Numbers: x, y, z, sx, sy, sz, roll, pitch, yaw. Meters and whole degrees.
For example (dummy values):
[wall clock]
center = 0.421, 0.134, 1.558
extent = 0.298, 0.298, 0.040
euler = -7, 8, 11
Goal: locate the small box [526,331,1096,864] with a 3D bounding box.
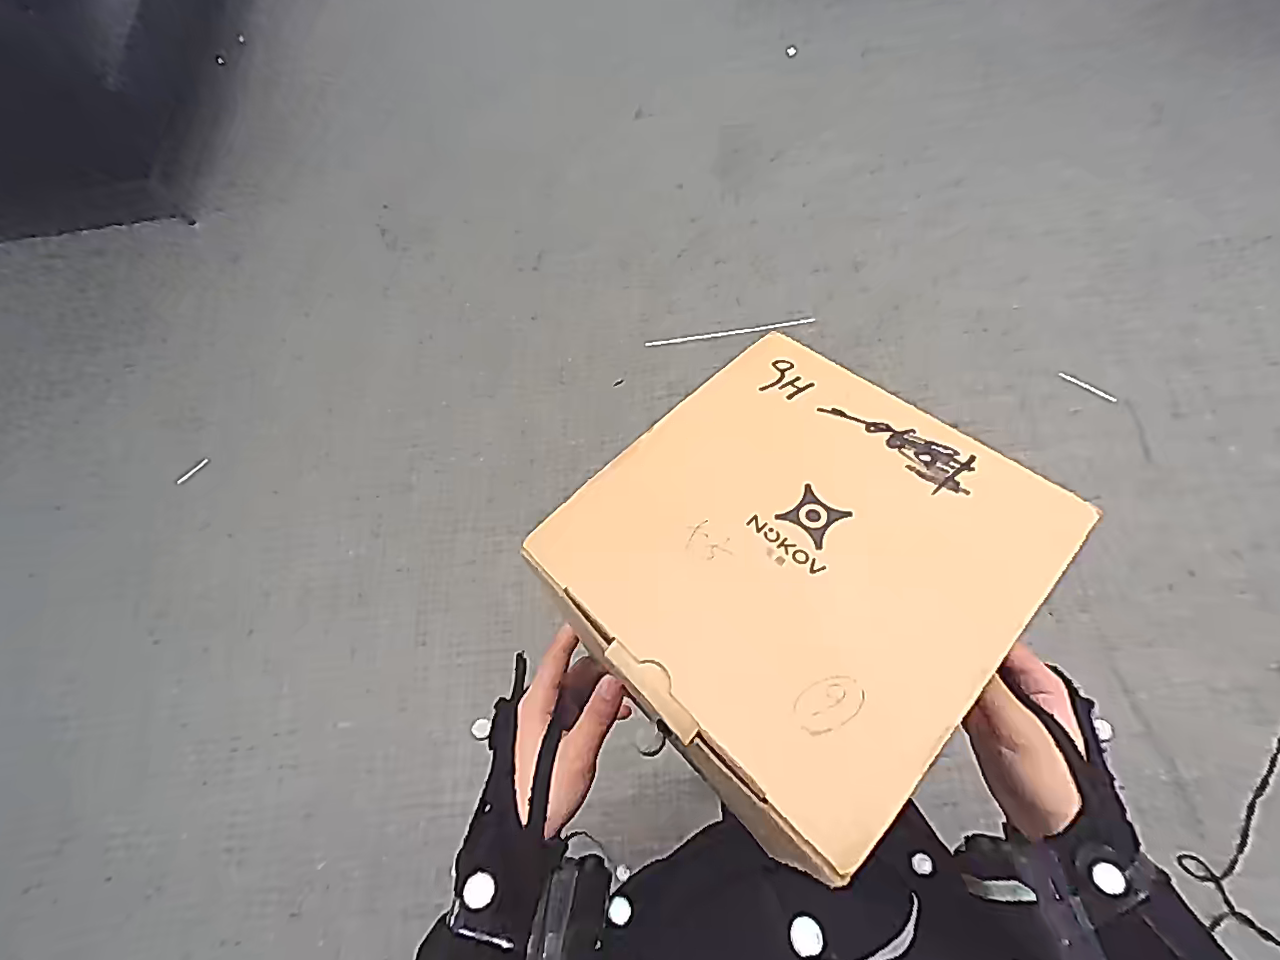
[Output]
[small box]
center = 0.075, 0.063, 0.291
extent = 0.179, 0.176, 0.168
euler = -41, 61, -17
